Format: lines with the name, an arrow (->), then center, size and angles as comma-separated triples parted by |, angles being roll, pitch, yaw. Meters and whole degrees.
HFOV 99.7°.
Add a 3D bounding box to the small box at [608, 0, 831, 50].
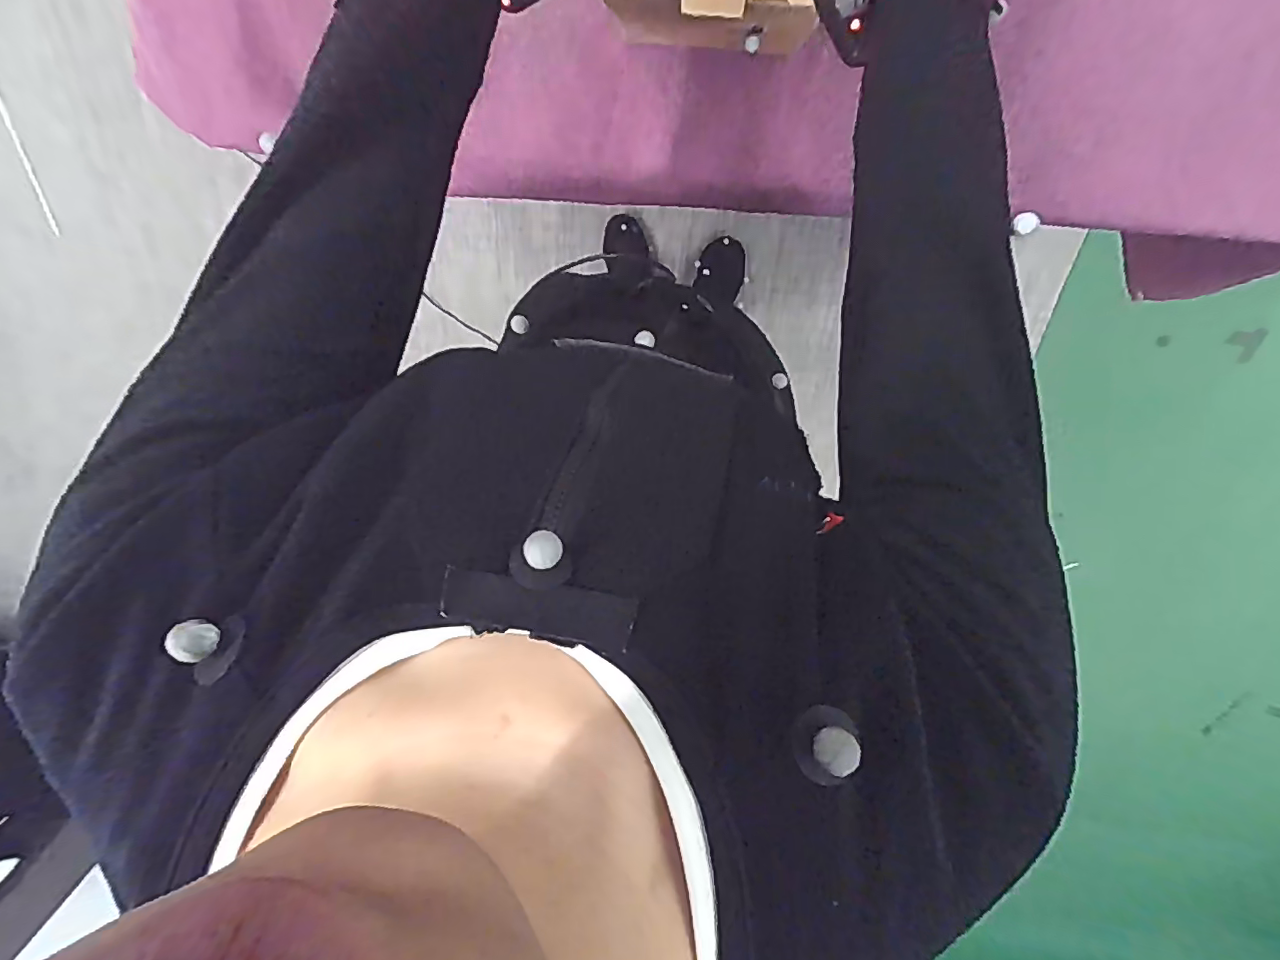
small box -> 0.069, -0.449, 0.405 | 0.168, 0.176, 0.179 | 7, 120, 2
